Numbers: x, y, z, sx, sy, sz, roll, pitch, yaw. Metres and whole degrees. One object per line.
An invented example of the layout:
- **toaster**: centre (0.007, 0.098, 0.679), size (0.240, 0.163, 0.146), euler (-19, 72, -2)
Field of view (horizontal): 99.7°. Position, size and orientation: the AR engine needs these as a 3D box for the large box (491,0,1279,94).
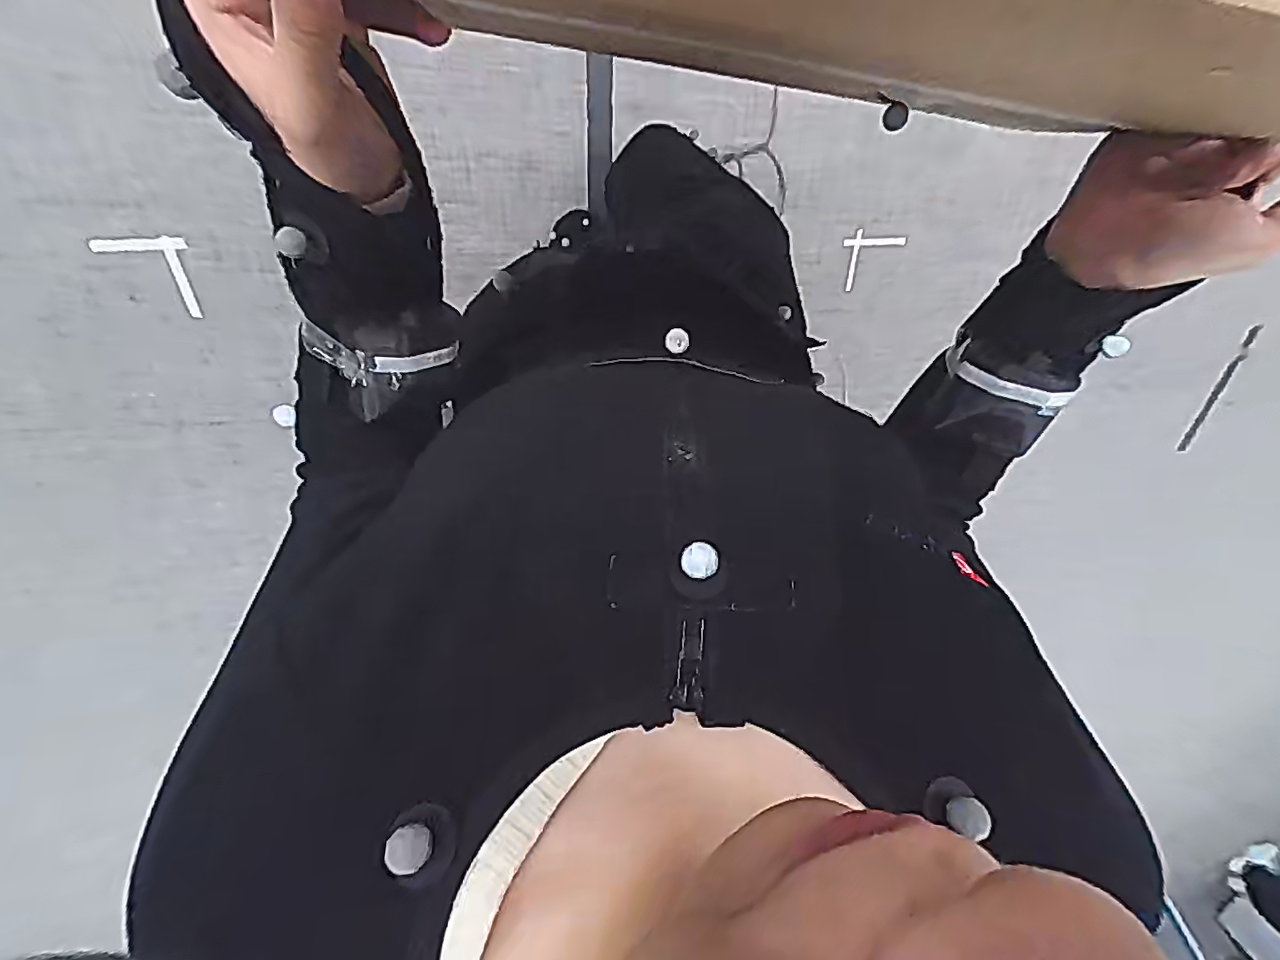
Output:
- **large box**: centre (0.092, -0.315, 0.130), size (0.408, 0.320, 0.320), euler (2, 125, -9)
